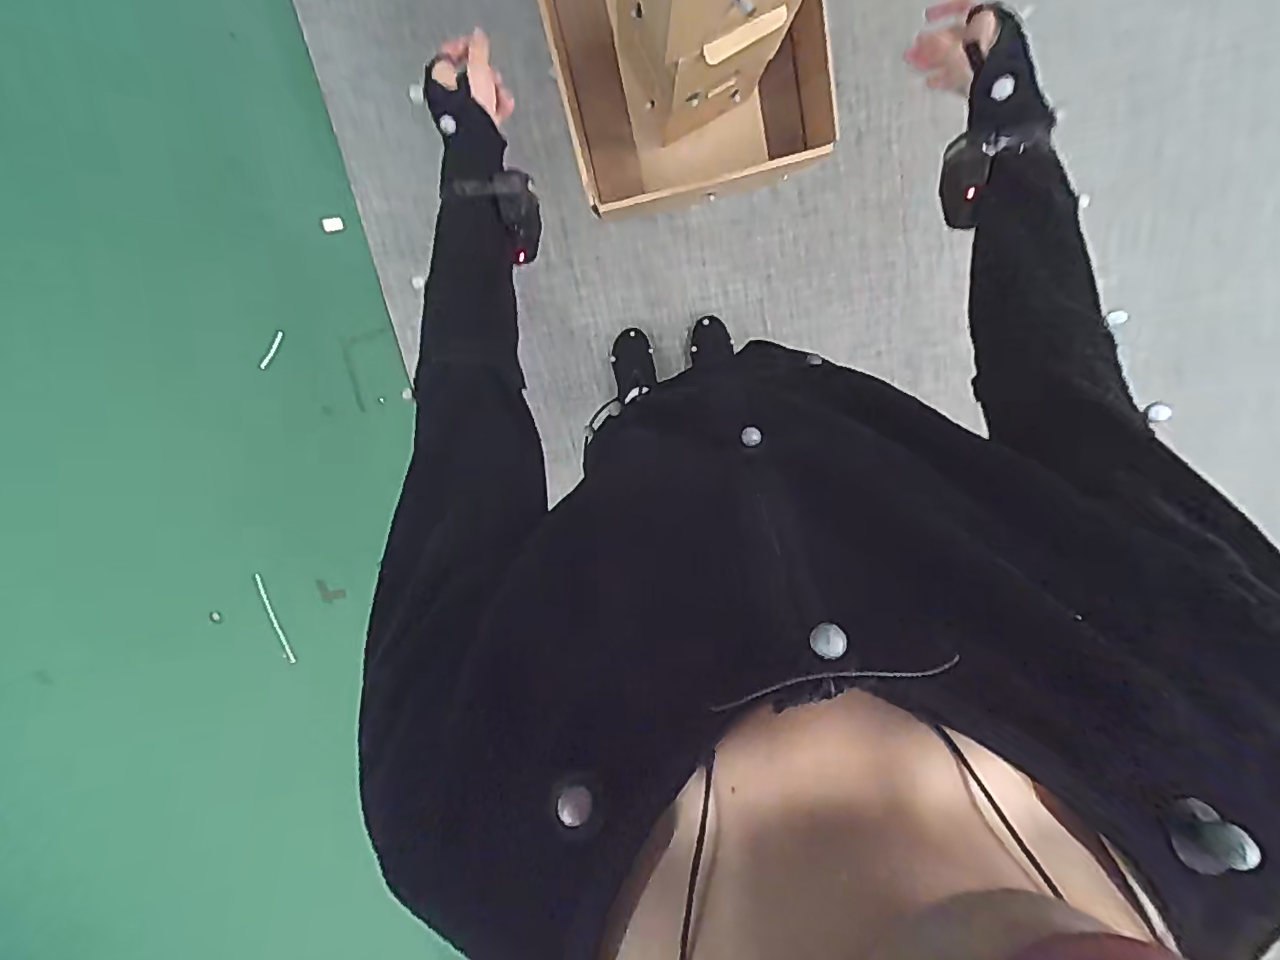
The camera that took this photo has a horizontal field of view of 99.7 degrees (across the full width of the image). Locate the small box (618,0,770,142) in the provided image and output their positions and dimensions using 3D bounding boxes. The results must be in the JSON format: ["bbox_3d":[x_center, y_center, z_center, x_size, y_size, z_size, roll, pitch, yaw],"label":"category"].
[{"bbox_3d":[0.080,-0.658,0.835,0.168,0.176,0.179,-25,103,7],"label":"small box"}]

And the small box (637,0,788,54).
[{"bbox_3d":[0.068,-0.561,0.522,0.168,0.176,0.179,-24,105,6],"label":"small box"}]

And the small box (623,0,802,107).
[{"bbox_3d":[0.080,-0.611,0.679,0.168,0.176,0.179,-26,103,7],"label":"small box"}]
